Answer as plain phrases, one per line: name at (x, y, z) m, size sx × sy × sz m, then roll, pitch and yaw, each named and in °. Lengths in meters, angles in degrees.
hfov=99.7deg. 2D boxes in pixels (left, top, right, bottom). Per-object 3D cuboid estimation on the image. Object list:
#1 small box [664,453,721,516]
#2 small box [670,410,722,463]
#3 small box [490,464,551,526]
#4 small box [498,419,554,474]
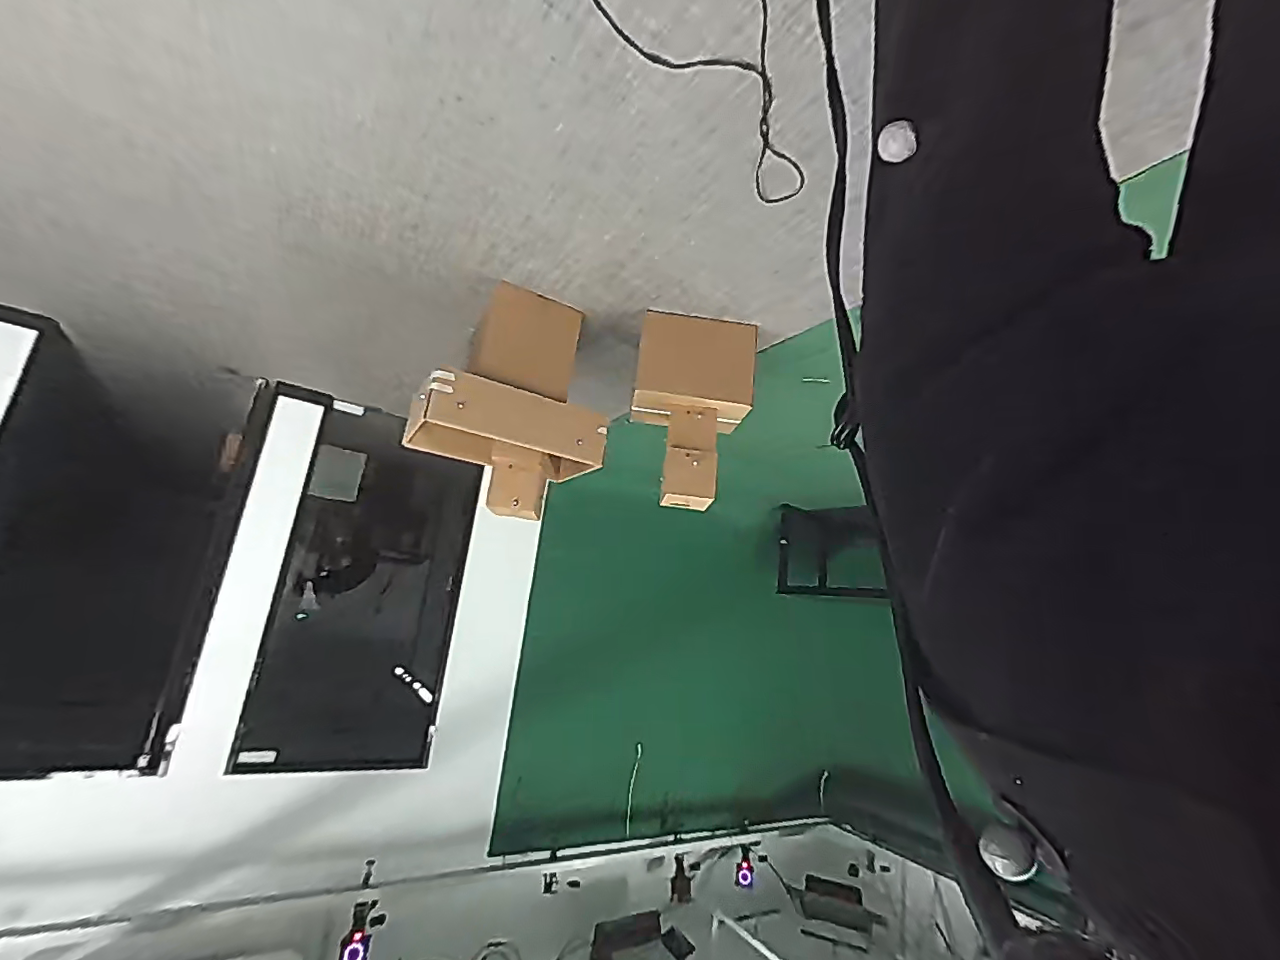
small box at (0.182, 0.019, 1.886) m, size 0.168 × 0.176 × 0.179 m, roll 7°, pitch 164°, yaw -3°
small box at (0.201, -0.135, 1.940) m, size 0.168 × 0.176 × 0.179 m, roll 6°, pitch 165°, yaw 2°
small box at (-0.412, 0.055, 1.896) m, size 0.168 × 0.176 × 0.179 m, roll 8°, pitch 165°, yaw -1°
small box at (-0.403, -0.106, 1.929) m, size 0.168 × 0.176 × 0.179 m, roll 10°, pitch 165°, yaw -6°
